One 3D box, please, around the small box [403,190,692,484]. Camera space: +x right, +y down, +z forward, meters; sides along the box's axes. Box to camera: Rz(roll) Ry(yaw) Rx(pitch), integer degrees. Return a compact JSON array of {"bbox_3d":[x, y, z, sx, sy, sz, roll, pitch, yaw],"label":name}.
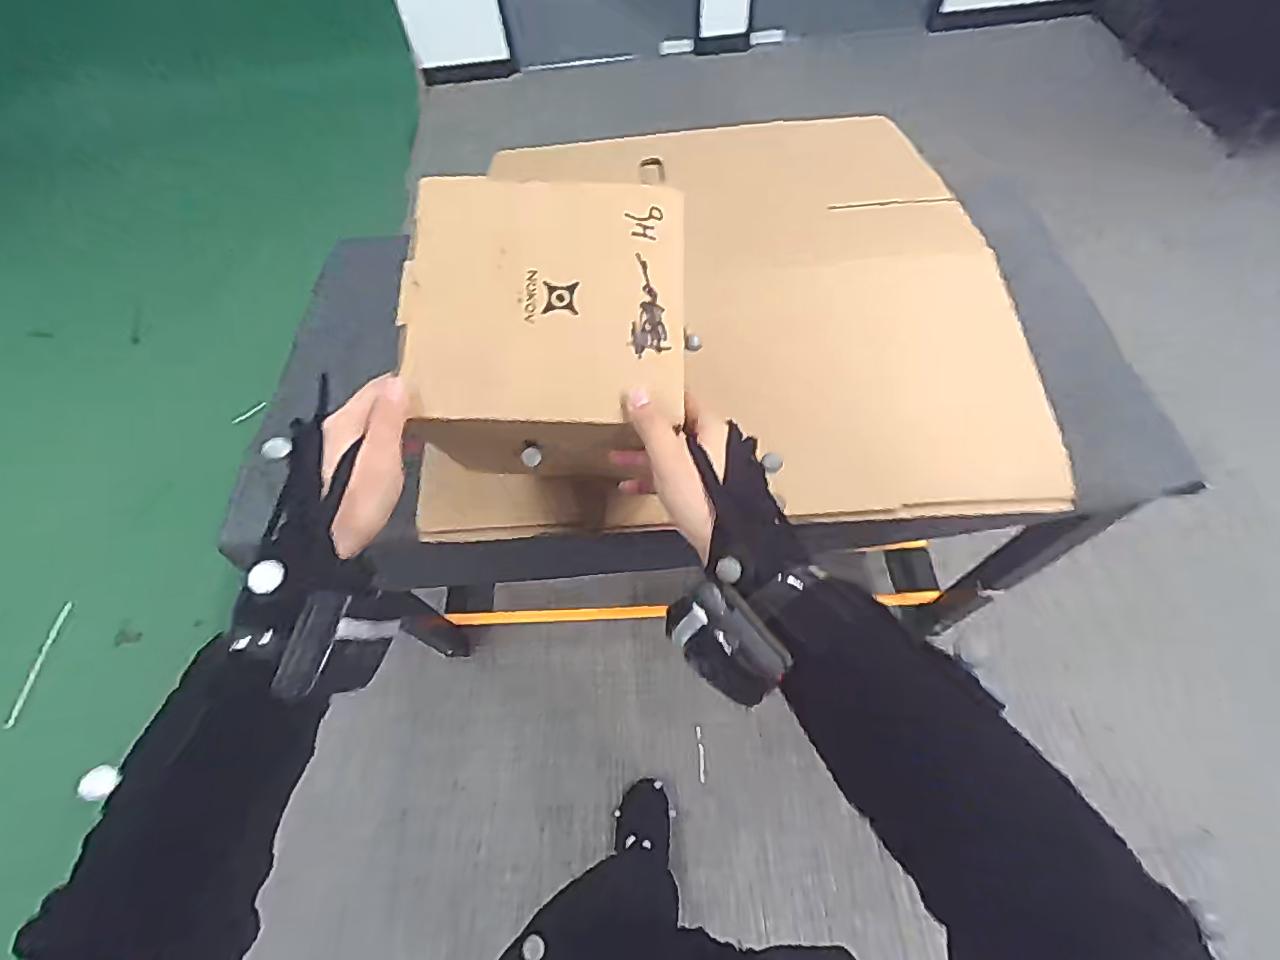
[{"bbox_3d":[-0.056,-0.092,0.419,0.179,0.176,0.168,2,79,-2],"label":"small box"}]
